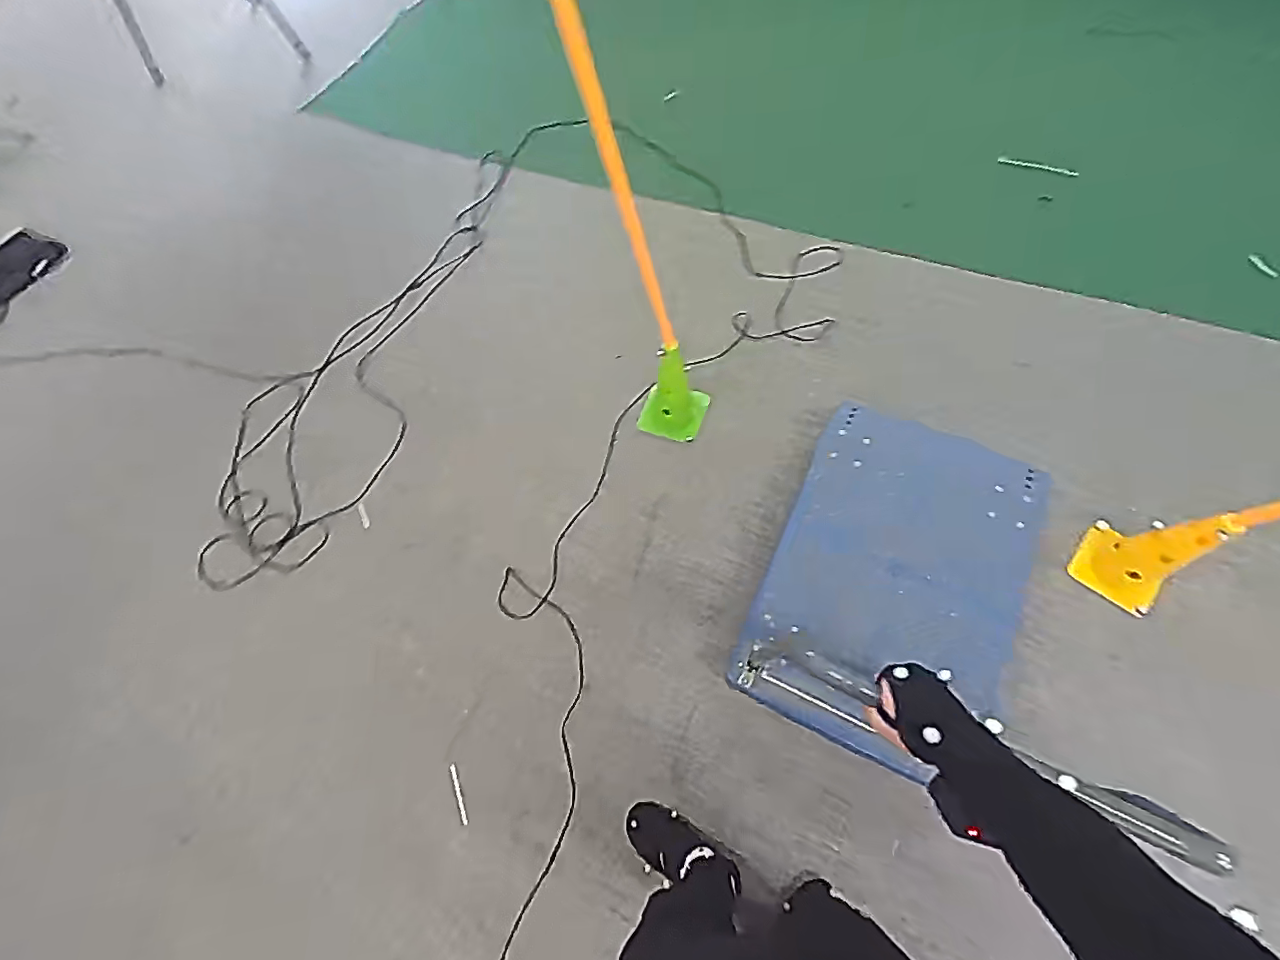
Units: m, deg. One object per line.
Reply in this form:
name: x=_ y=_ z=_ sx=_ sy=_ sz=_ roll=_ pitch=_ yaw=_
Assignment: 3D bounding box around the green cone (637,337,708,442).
green cone: x=0.091 y=-0.303 z=1.644 sx=0.202 sy=0.368 sz=0.200 roll=16 pitch=67 yaw=14
